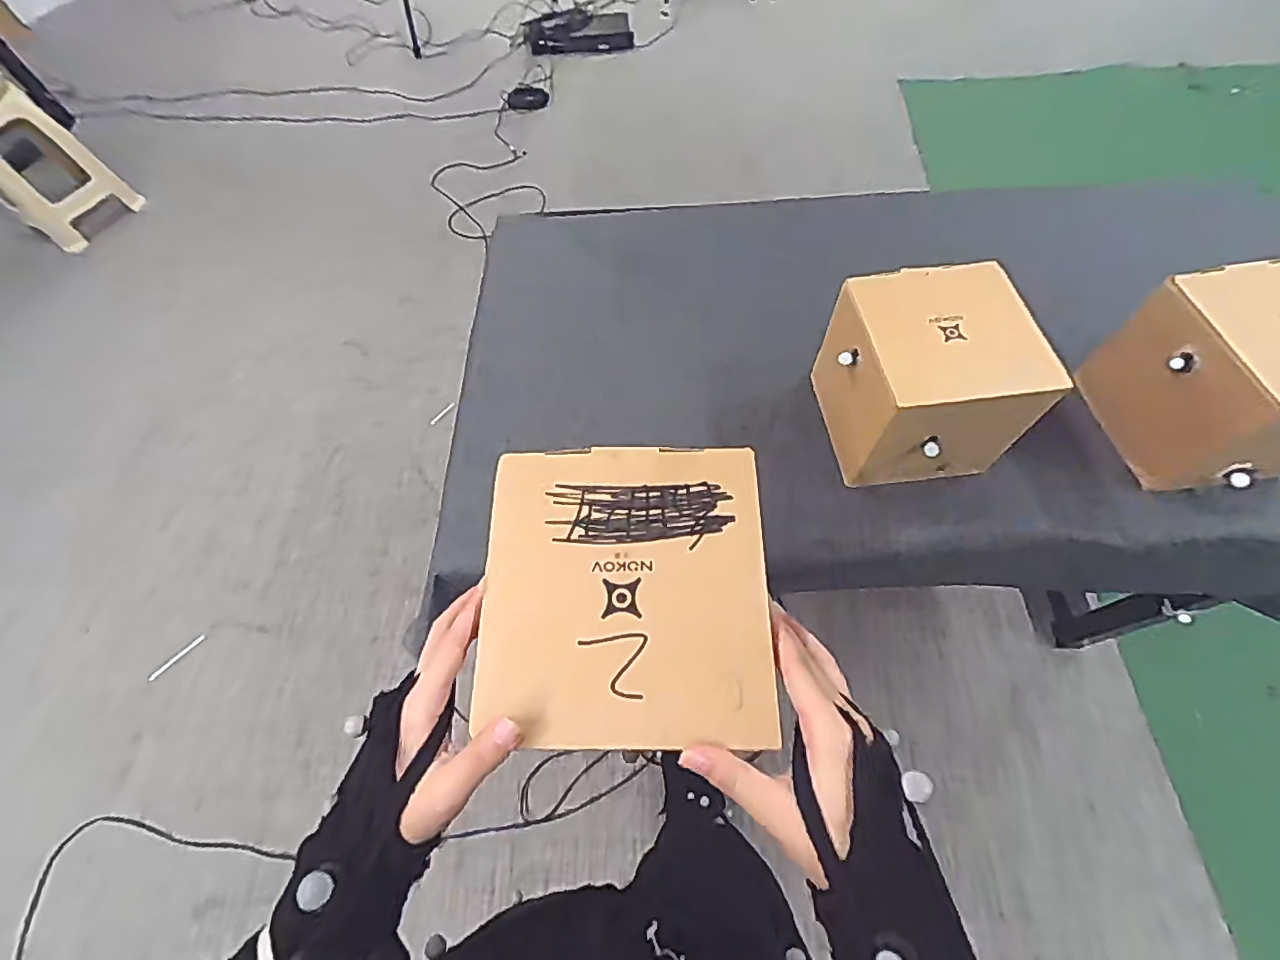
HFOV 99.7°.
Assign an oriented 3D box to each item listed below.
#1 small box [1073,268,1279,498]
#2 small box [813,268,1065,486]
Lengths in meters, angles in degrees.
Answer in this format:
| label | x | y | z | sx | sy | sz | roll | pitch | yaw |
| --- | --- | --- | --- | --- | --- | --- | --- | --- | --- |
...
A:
| label | x | y | z | sx | sy | sz | roll | pitch | yaw |
| --- | --- | --- | --- | --- | --- | --- | --- | --- | --- |
| small box | 0.636 | -0.101 | 0.591 | 0.168 | 0.176 | 0.179 | -9 | 62 | 0 |
| small box | 0.311 | -0.105 | 0.610 | 0.168 | 0.176 | 0.179 | -7 | 60 | 0 |
